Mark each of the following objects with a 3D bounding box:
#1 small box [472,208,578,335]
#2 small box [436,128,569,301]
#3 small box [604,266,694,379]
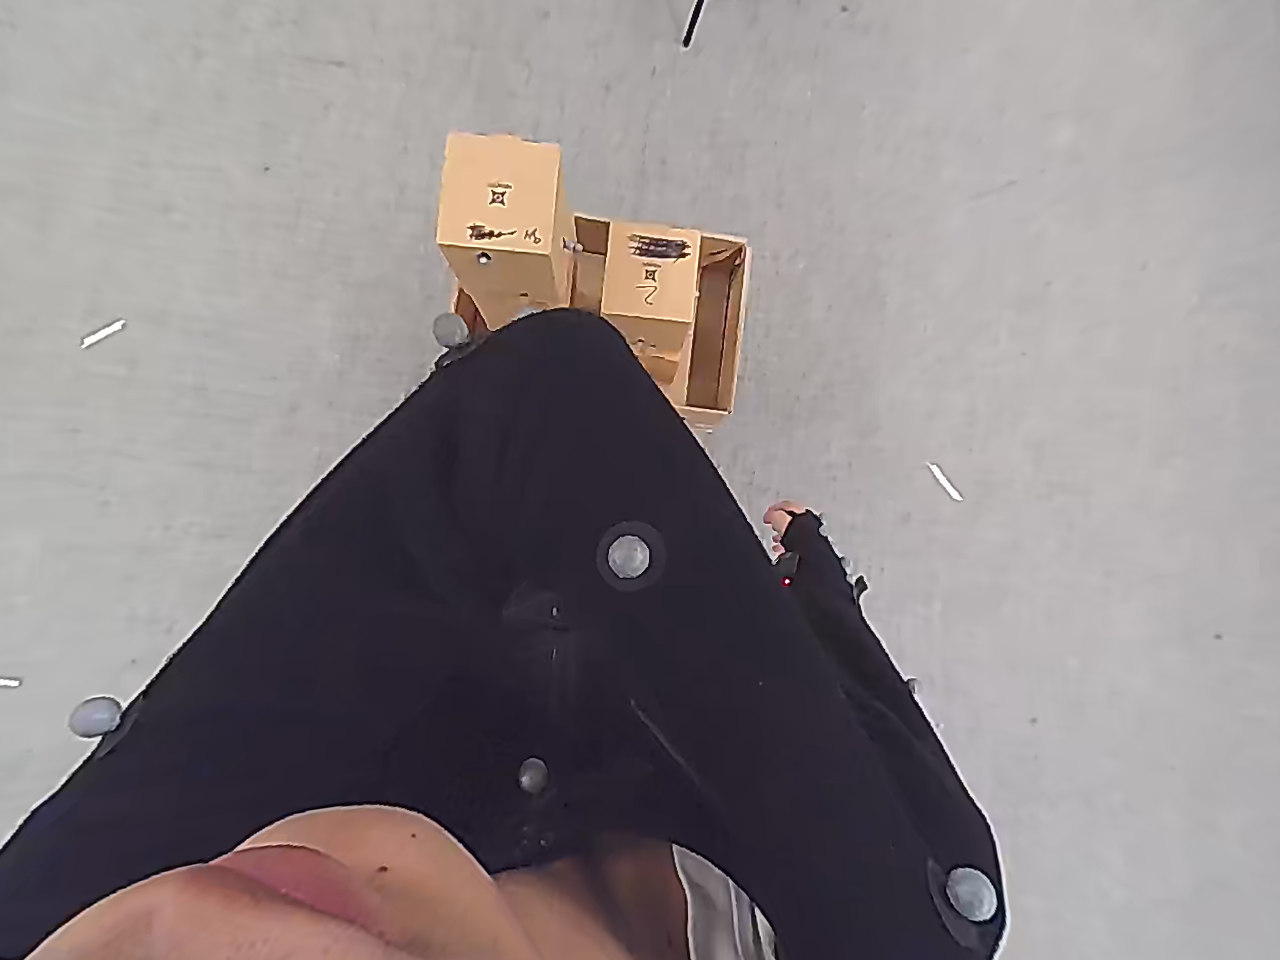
[{"bbox_3d":[-0.209,-0.395,1.022,0.168,0.176,0.179,5,85,-3],"label":"small box"},{"bbox_3d":[-0.206,-0.410,0.858,0.168,0.176,0.179,5,84,-2],"label":"small box"},{"bbox_3d":[0.016,-0.341,1.197,0.168,0.176,0.179,10,85,-1],"label":"small box"}]
